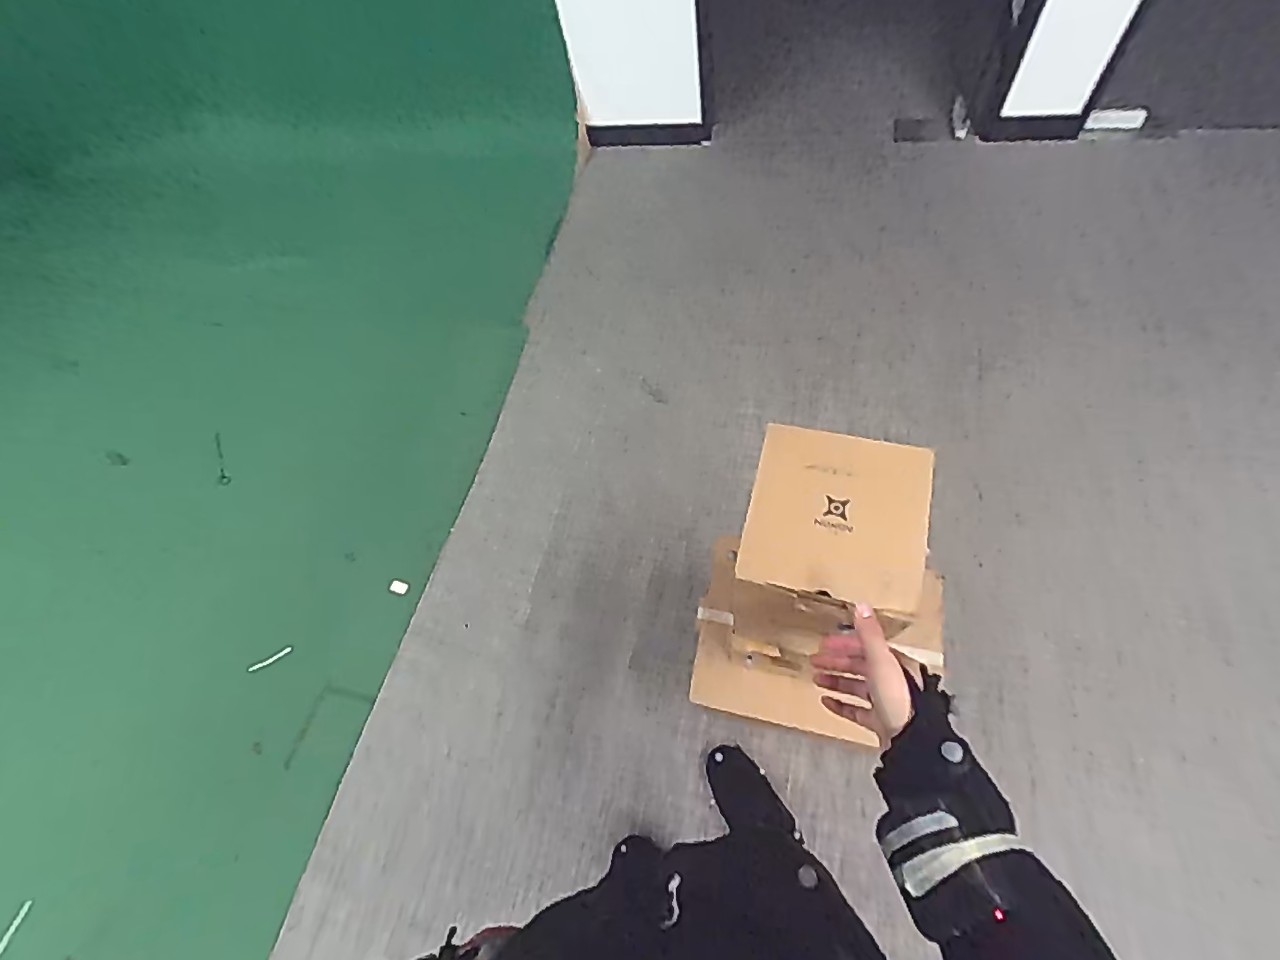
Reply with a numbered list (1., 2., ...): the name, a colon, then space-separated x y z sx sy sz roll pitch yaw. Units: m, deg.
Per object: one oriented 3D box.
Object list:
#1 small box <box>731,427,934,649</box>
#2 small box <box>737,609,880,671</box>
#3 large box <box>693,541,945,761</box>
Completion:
1. small box: 0.198 0.070 0.587 0.168 0.176 0.179 12 65 14
2. small box: 0.229 0.140 0.731 0.168 0.176 0.179 13 67 16
3. large box: 0.331 0.341 1.072 0.408 0.320 0.320 8 67 13
